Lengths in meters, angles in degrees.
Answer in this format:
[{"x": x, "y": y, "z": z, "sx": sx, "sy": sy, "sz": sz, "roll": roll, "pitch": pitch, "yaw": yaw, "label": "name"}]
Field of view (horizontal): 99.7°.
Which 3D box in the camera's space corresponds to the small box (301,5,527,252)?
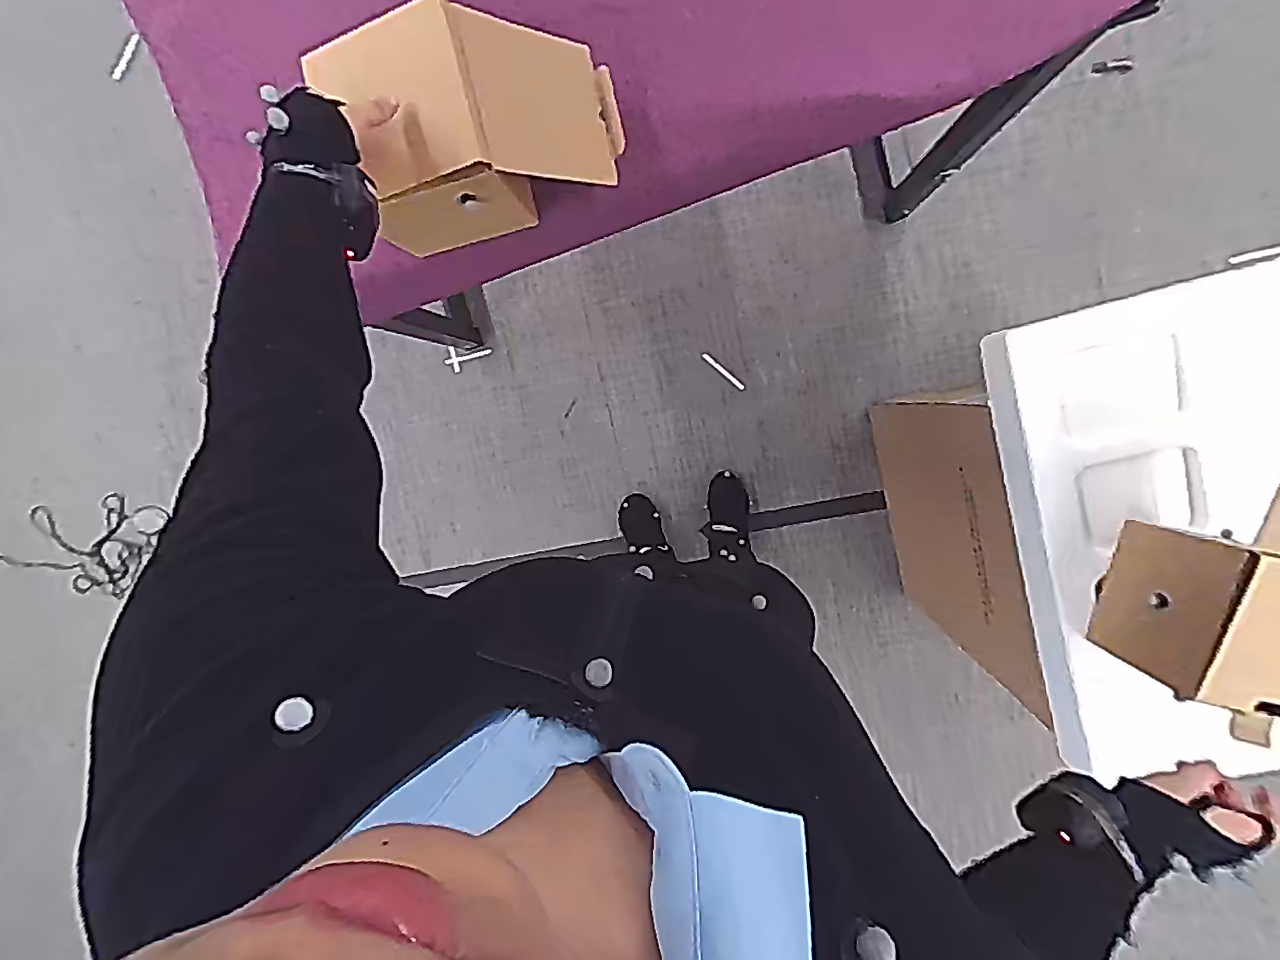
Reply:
[{"x": -0.247, "y": -0.394, "z": 0.642, "sx": 0.179, "sy": 0.176, "sz": 0.168, "roll": -12, "pitch": 95, "yaw": 8, "label": "small box"}]
